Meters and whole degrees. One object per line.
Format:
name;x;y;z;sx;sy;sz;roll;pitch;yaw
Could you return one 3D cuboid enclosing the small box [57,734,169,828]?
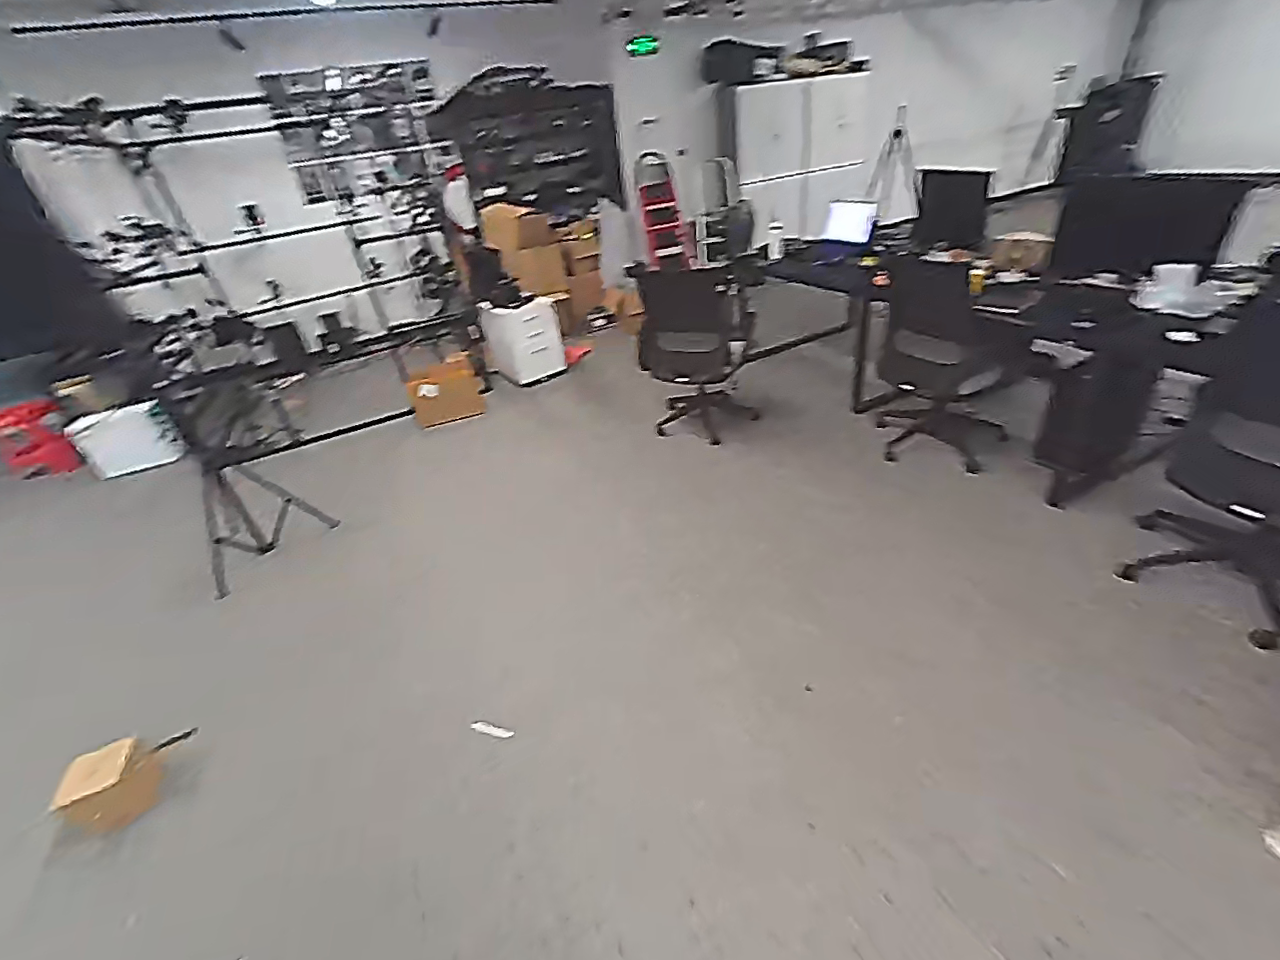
small box;-1.622;0.942;1.681;0.168;0.176;0.179;-18;33;-16
